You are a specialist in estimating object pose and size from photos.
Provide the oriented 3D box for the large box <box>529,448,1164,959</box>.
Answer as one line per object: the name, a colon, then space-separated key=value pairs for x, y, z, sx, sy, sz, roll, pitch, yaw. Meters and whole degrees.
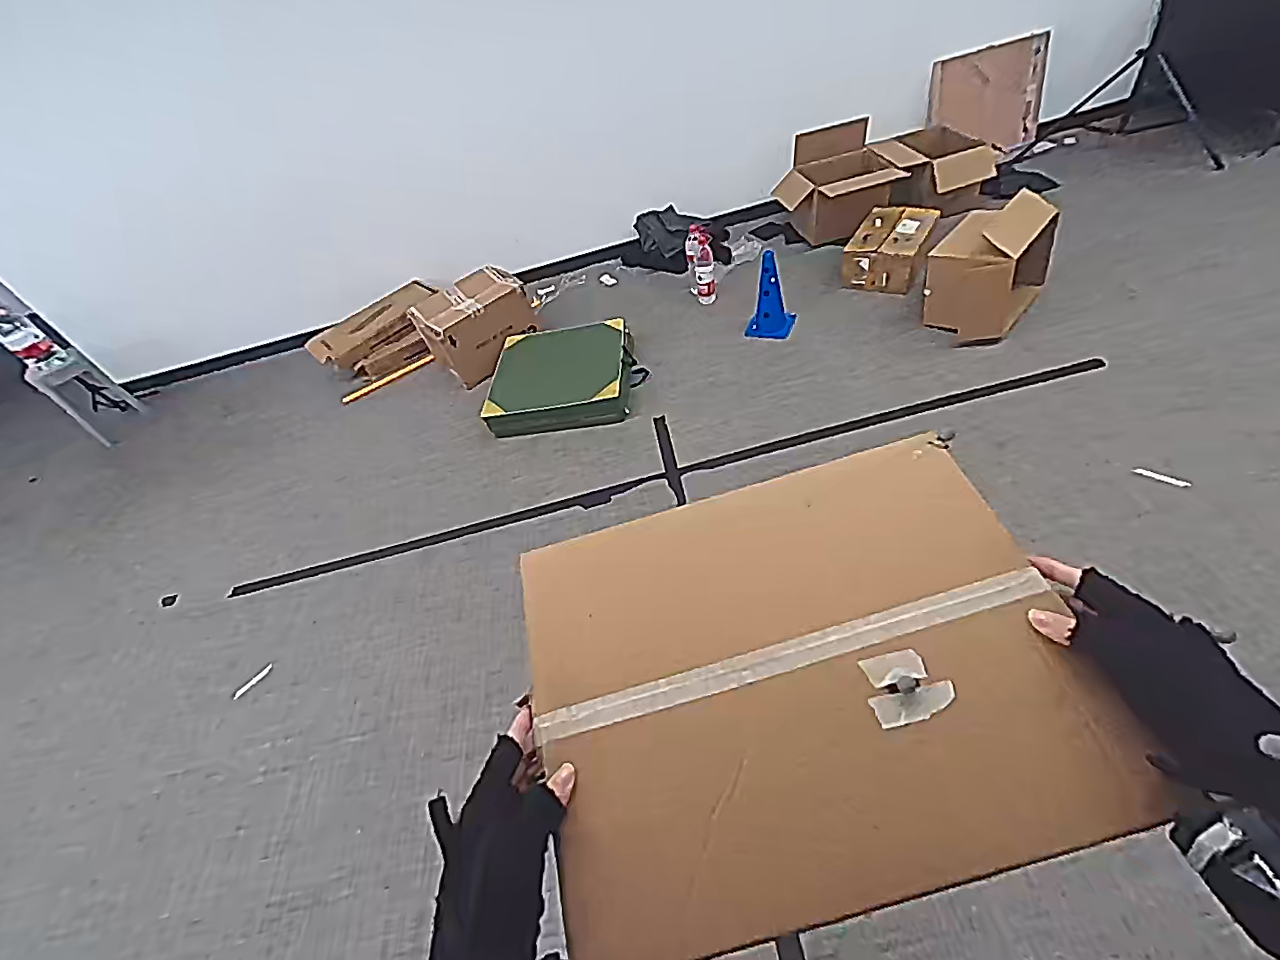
large box: x=0.141 y=0.228 z=0.555 sx=0.408 sy=0.320 sz=0.320 roll=-17 pitch=55 yaw=0
